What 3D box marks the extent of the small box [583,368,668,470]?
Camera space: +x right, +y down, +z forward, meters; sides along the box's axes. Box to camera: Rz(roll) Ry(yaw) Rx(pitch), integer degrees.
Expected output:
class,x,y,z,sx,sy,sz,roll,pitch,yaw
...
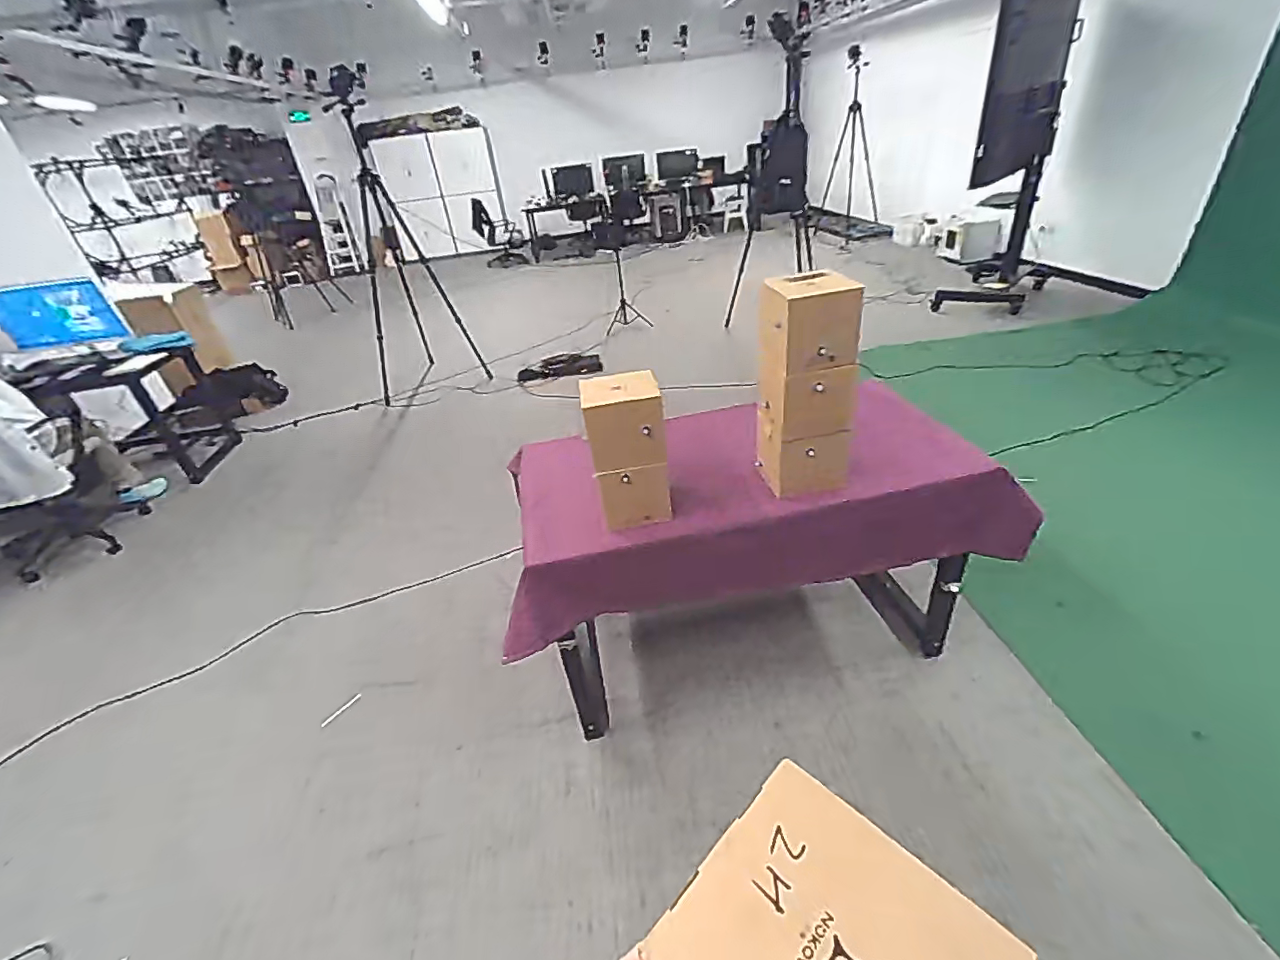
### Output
class,x,y,z,sx,sy,sz,roll,pitch,yaw
small box,-0.032,-0.143,1.261,0.179,0.176,0.168,-10,33,-2

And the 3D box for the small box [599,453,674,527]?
class,x,y,z,sx,sy,sz,roll,pitch,yaw
small box,-0.014,-0.006,1.349,0.168,0.176,0.179,-10,32,-2

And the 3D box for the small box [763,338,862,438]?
class,x,y,z,sx,sy,sz,roll,pitch,yaw
small box,0.400,-0.218,1.285,0.179,0.176,0.168,-11,33,-4

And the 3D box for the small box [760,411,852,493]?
class,x,y,z,sx,sy,sz,roll,pitch,yaw
small box,0.415,-0.082,1.373,0.179,0.176,0.168,-10,33,-4
